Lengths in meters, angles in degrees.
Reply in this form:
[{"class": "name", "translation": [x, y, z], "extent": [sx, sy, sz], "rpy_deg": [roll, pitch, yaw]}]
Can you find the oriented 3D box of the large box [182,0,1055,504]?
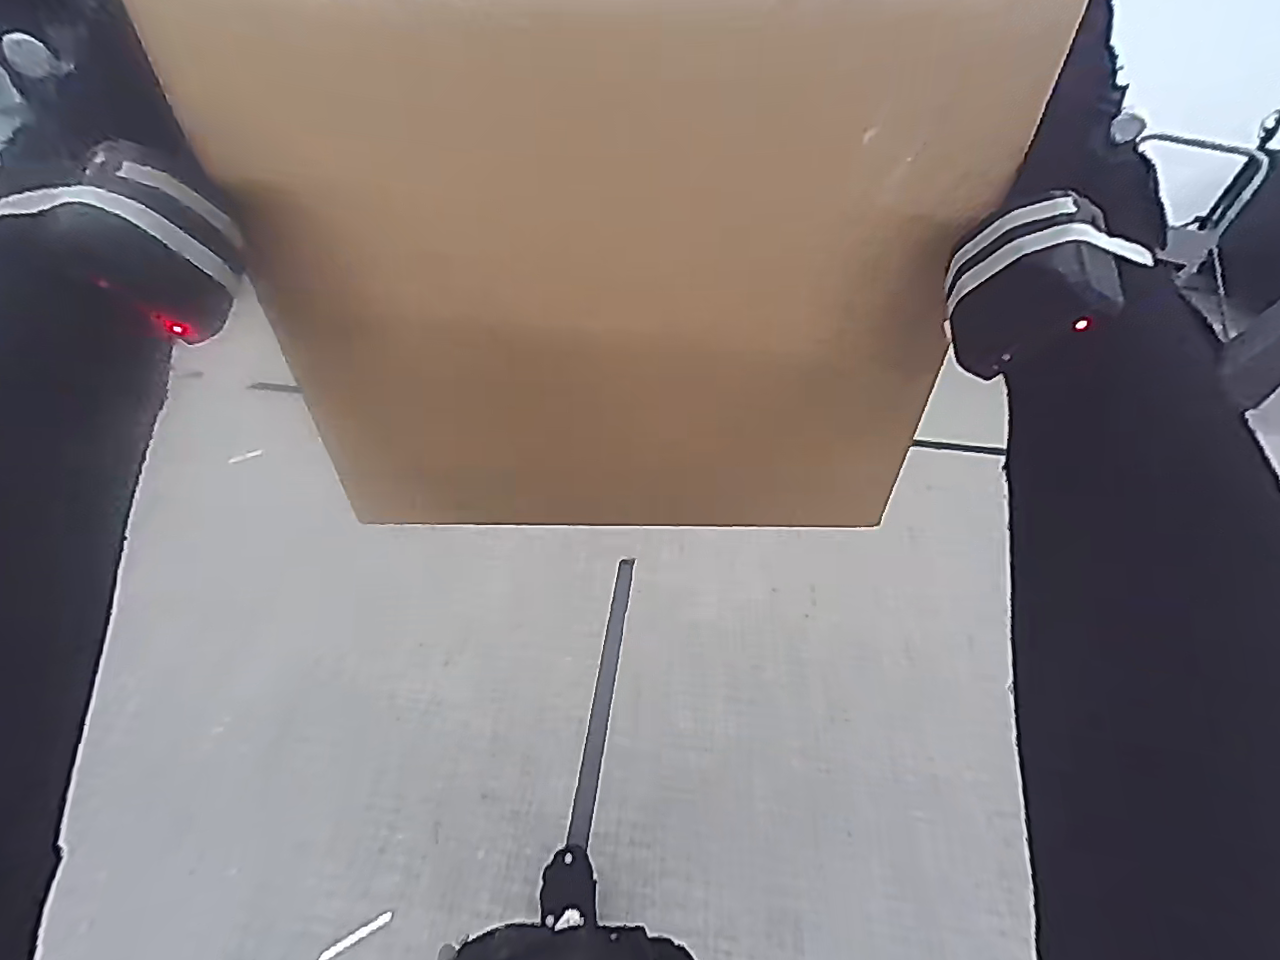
[{"class": "large box", "translation": [-0.014, -0.190, 0.446], "extent": [0.408, 0.320, 0.320], "rpy_deg": [1, 40, -1]}]
